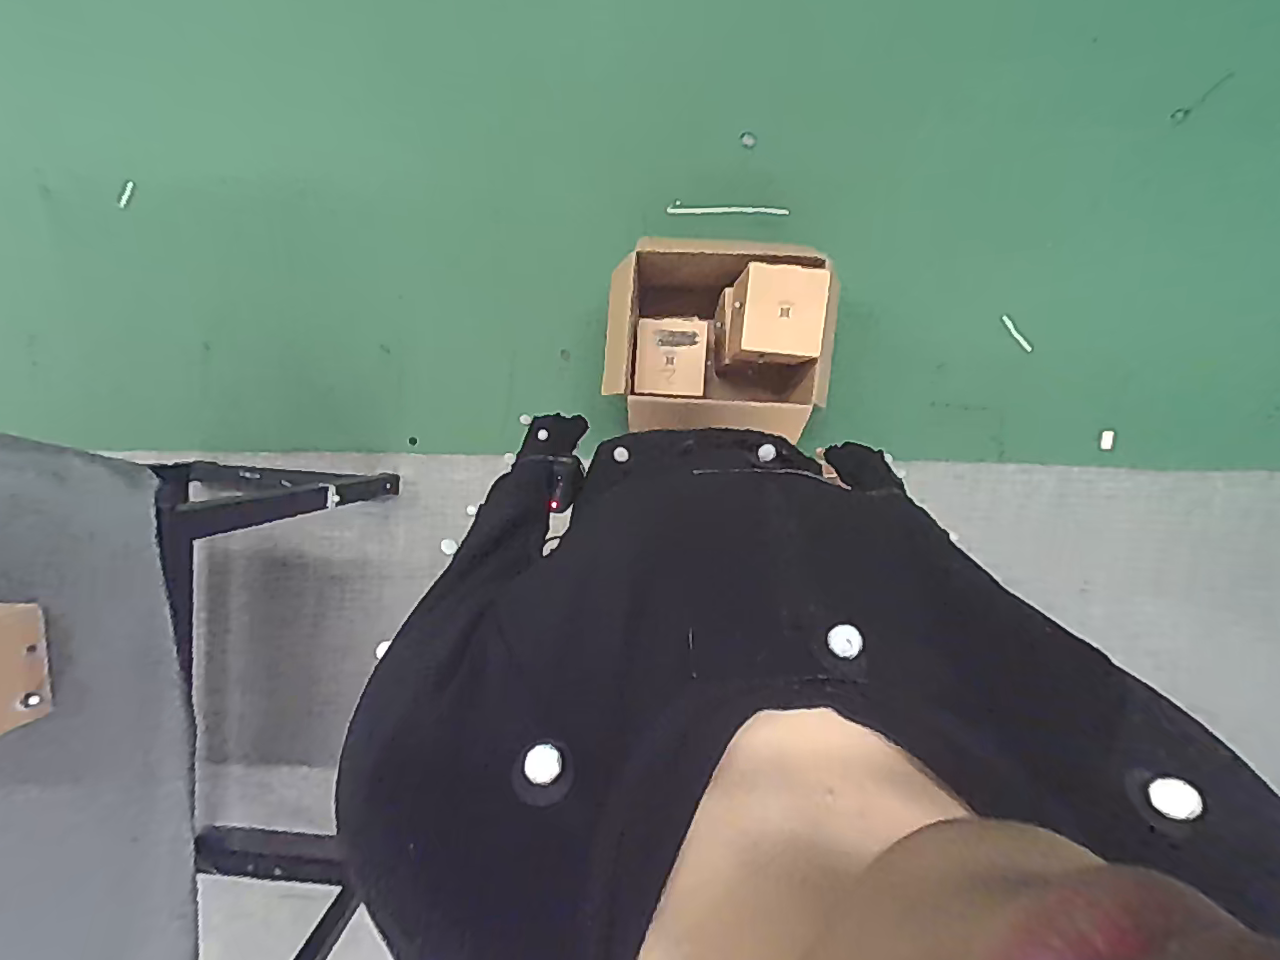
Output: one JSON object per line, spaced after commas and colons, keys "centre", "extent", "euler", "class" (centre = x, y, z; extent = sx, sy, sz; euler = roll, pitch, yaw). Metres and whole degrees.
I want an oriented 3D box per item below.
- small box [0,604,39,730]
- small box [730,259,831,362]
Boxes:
{"centre": [-0.955, 0.266, 0.708], "extent": [0.179, 0.176, 0.168], "euler": [0, 95, 3], "class": "small box"}
{"centre": [0.292, -0.354, 1.160], "extent": [0.168, 0.176, 0.179], "euler": [5, 95, -1], "class": "small box"}
